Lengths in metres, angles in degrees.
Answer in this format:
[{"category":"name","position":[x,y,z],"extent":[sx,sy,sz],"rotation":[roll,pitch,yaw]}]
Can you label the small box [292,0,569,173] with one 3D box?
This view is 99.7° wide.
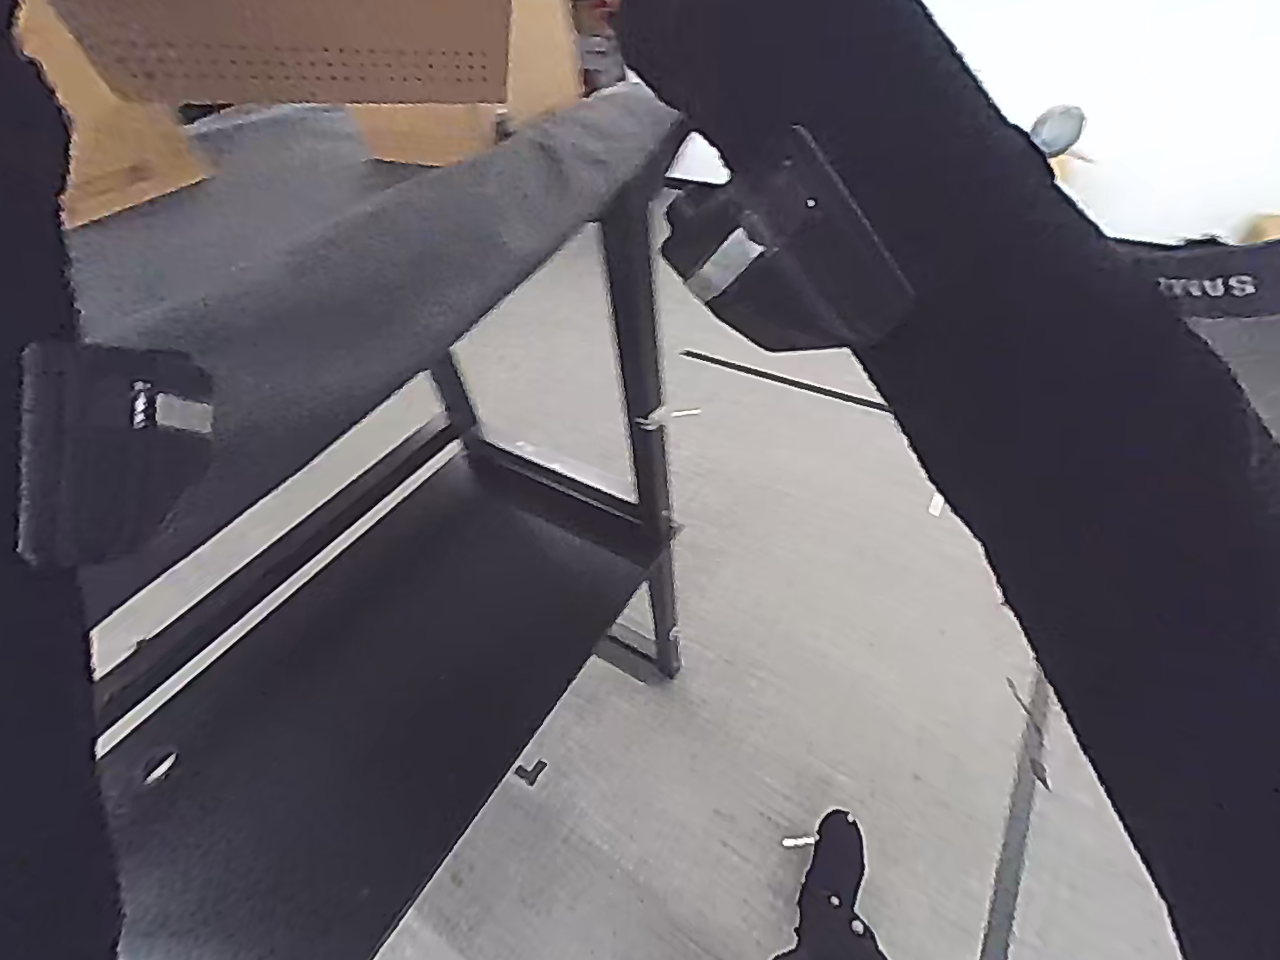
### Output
[{"category":"small box","position":[-0.192,-0.421,0.532],"extent":[0.179,0.176,0.168],"rotation":[19,53,23]}]
